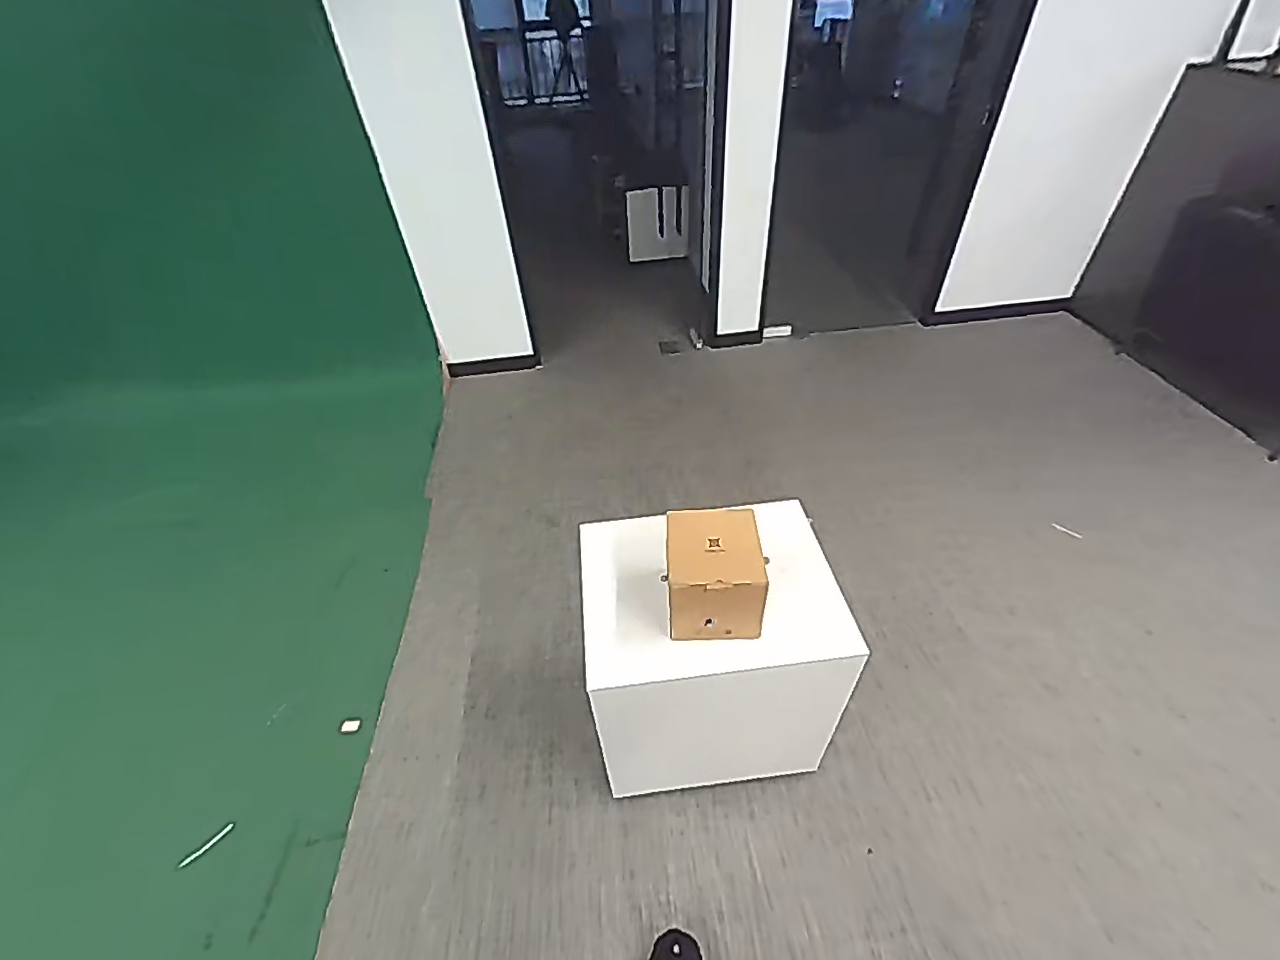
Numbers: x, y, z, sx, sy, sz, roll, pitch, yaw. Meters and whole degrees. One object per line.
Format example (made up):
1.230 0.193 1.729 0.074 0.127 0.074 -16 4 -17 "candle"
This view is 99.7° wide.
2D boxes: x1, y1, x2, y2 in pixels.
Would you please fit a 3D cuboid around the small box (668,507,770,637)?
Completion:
0.137 0.170 1.002 0.168 0.176 0.179 -3 42 2 "small box"
